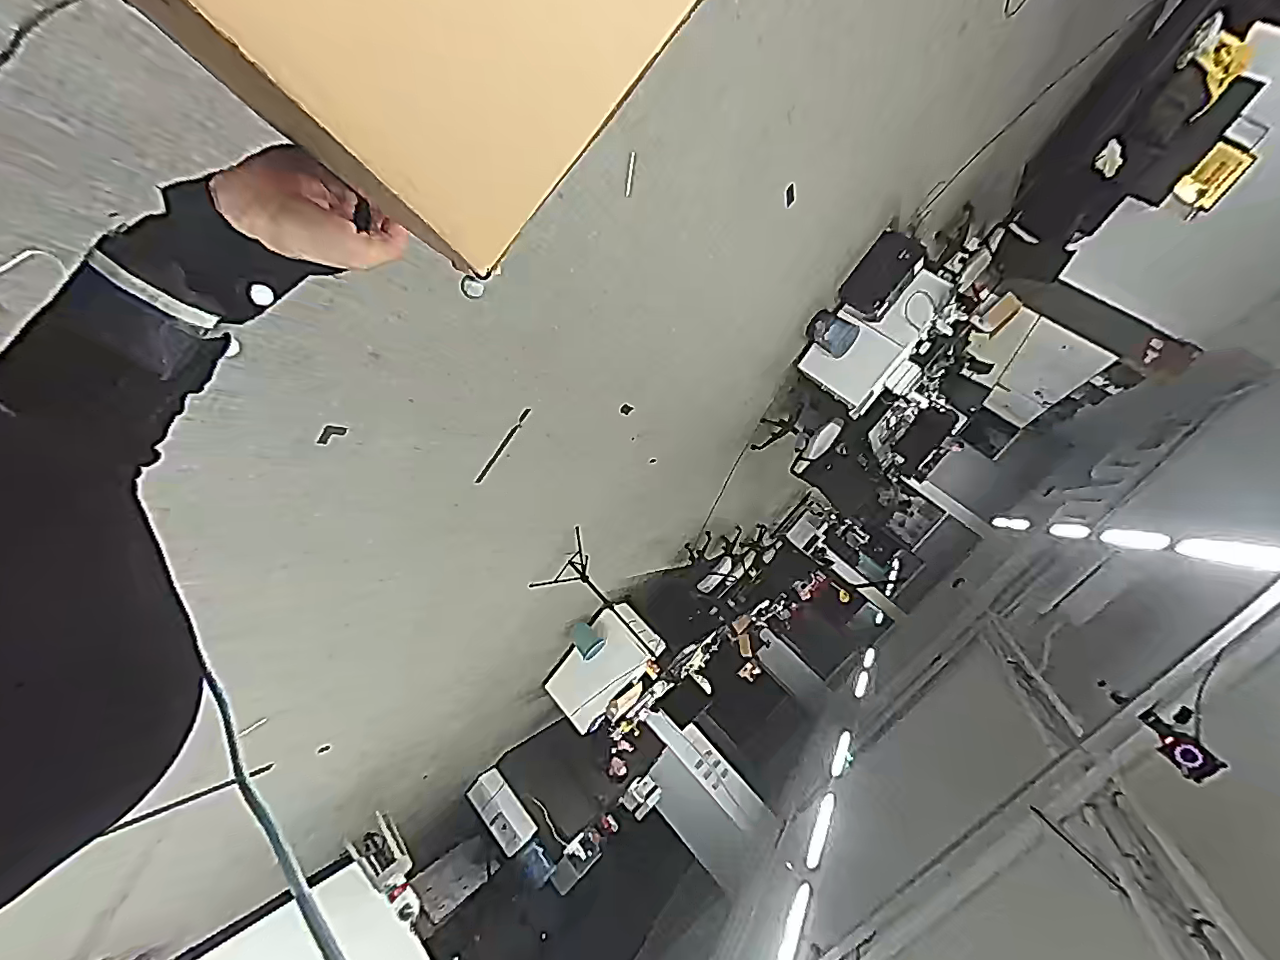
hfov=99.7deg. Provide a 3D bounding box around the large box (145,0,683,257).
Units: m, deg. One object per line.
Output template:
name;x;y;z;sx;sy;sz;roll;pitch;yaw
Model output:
large box;-0.157;-0.360;0.146;0.320;0.320;0.408;-49;154;5
